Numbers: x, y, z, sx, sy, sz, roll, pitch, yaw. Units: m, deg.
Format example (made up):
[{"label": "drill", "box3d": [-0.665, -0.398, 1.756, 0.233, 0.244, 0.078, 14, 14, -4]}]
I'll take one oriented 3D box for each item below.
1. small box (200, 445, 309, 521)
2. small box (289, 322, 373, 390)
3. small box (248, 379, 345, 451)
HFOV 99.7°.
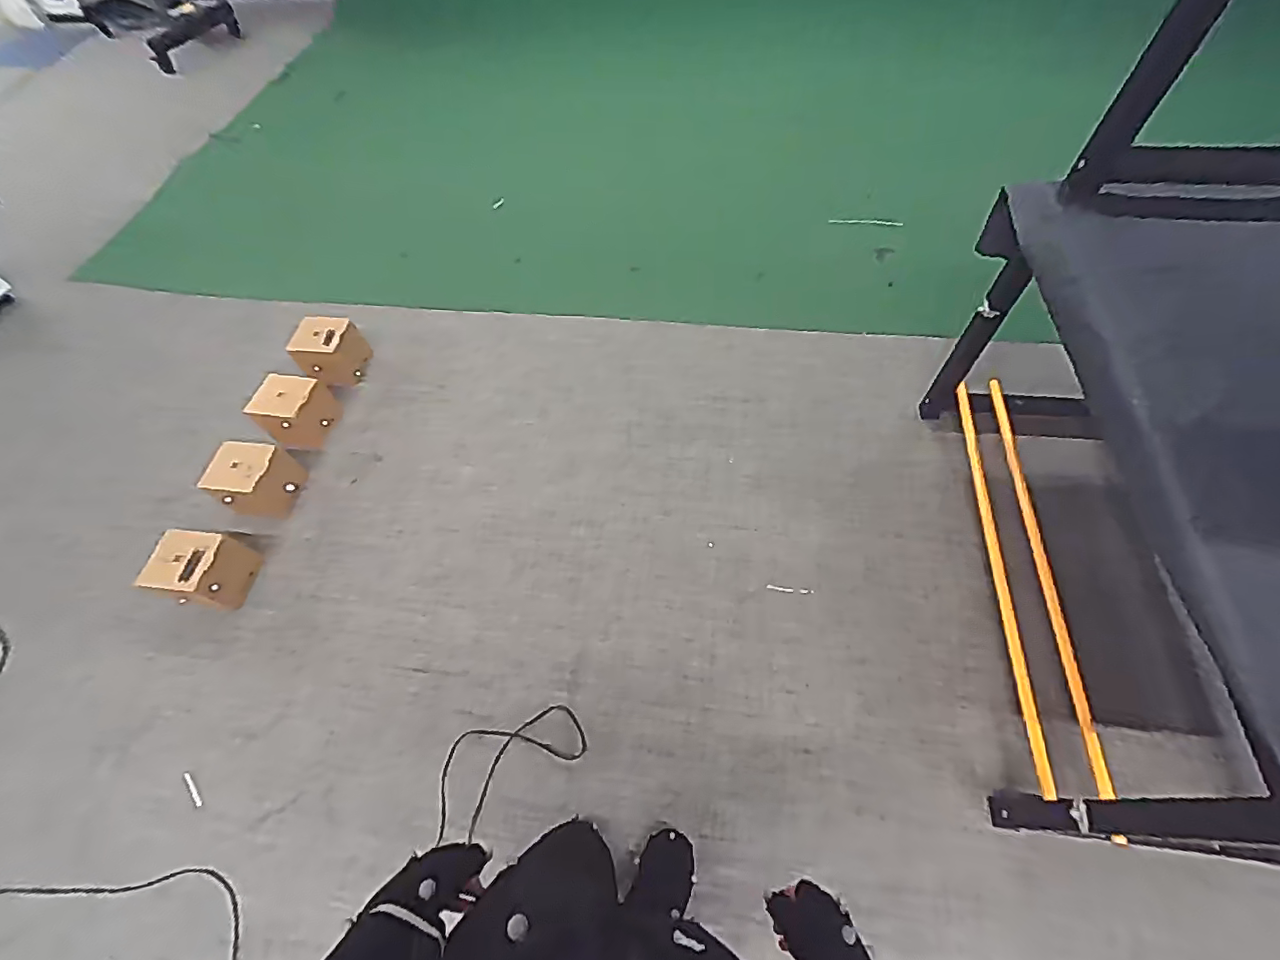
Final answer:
[{"label": "small box", "box3d": [-1.166, 0.013, 1.649, 0.179, 0.176, 0.168, 5, 60, 6]}, {"label": "small box", "box3d": [-1.091, -0.439, 1.929, 0.179, 0.176, 0.168, 4, 58, 6]}, {"label": "small box", "box3d": [-1.129, -0.212, 1.791, 0.179, 0.176, 0.168, 7, 58, 7]}]
